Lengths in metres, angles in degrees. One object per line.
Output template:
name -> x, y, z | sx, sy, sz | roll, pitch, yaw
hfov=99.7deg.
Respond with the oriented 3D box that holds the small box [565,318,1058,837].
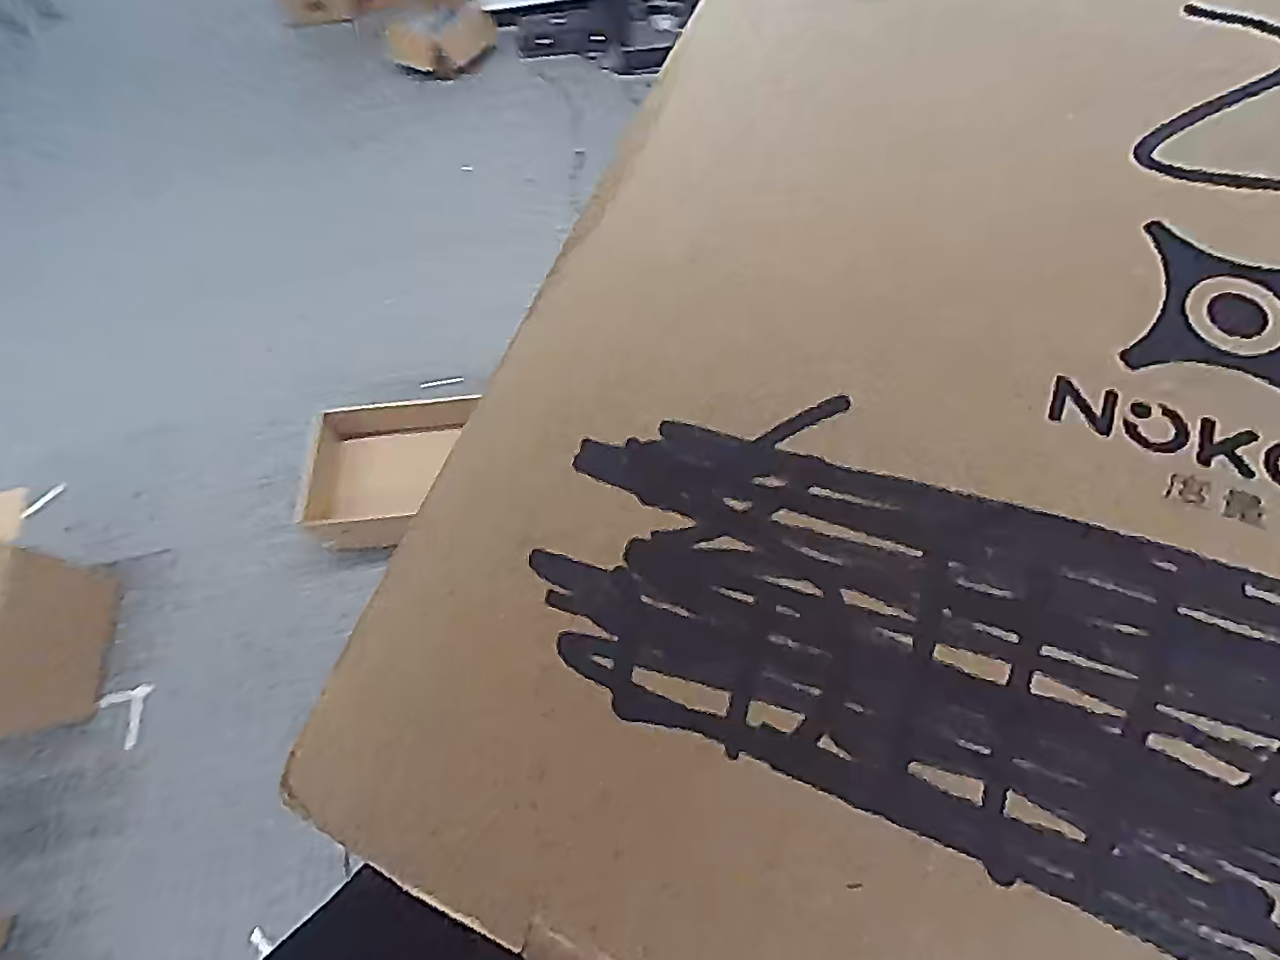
small box -> 0.080, 0.046, 0.300 | 0.168, 0.176, 0.179 | 17, 76, 10
